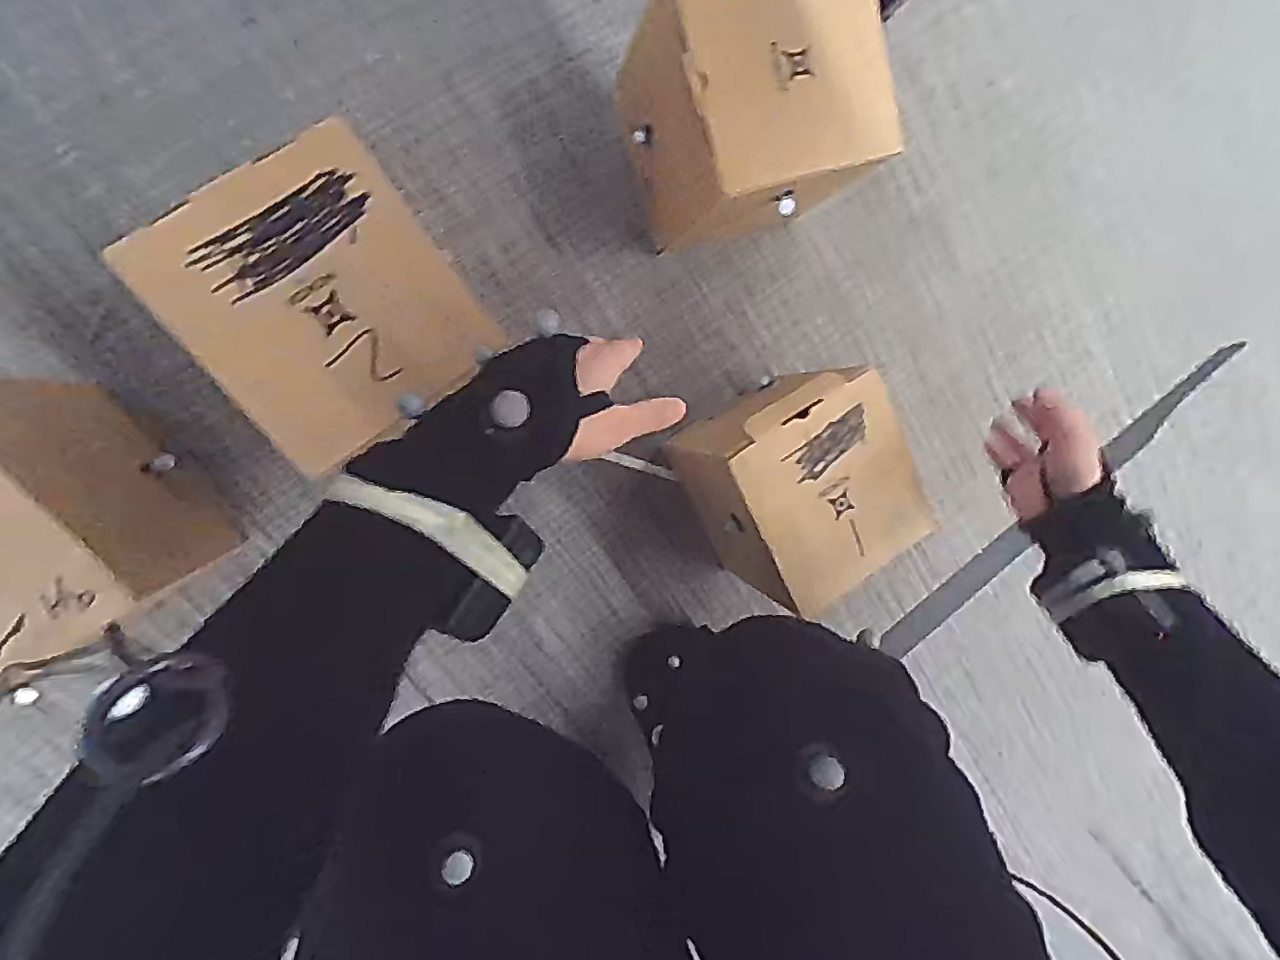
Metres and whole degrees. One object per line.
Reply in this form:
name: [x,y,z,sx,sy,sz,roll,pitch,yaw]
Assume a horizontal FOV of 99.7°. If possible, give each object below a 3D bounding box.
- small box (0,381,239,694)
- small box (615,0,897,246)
small box: [-0.449,0.044,0.386,0.168,0.176,0.179,-35,104,-9]
small box: [0.095,-0.337,0.498,0.179,0.176,0.168,-20,102,-12]
